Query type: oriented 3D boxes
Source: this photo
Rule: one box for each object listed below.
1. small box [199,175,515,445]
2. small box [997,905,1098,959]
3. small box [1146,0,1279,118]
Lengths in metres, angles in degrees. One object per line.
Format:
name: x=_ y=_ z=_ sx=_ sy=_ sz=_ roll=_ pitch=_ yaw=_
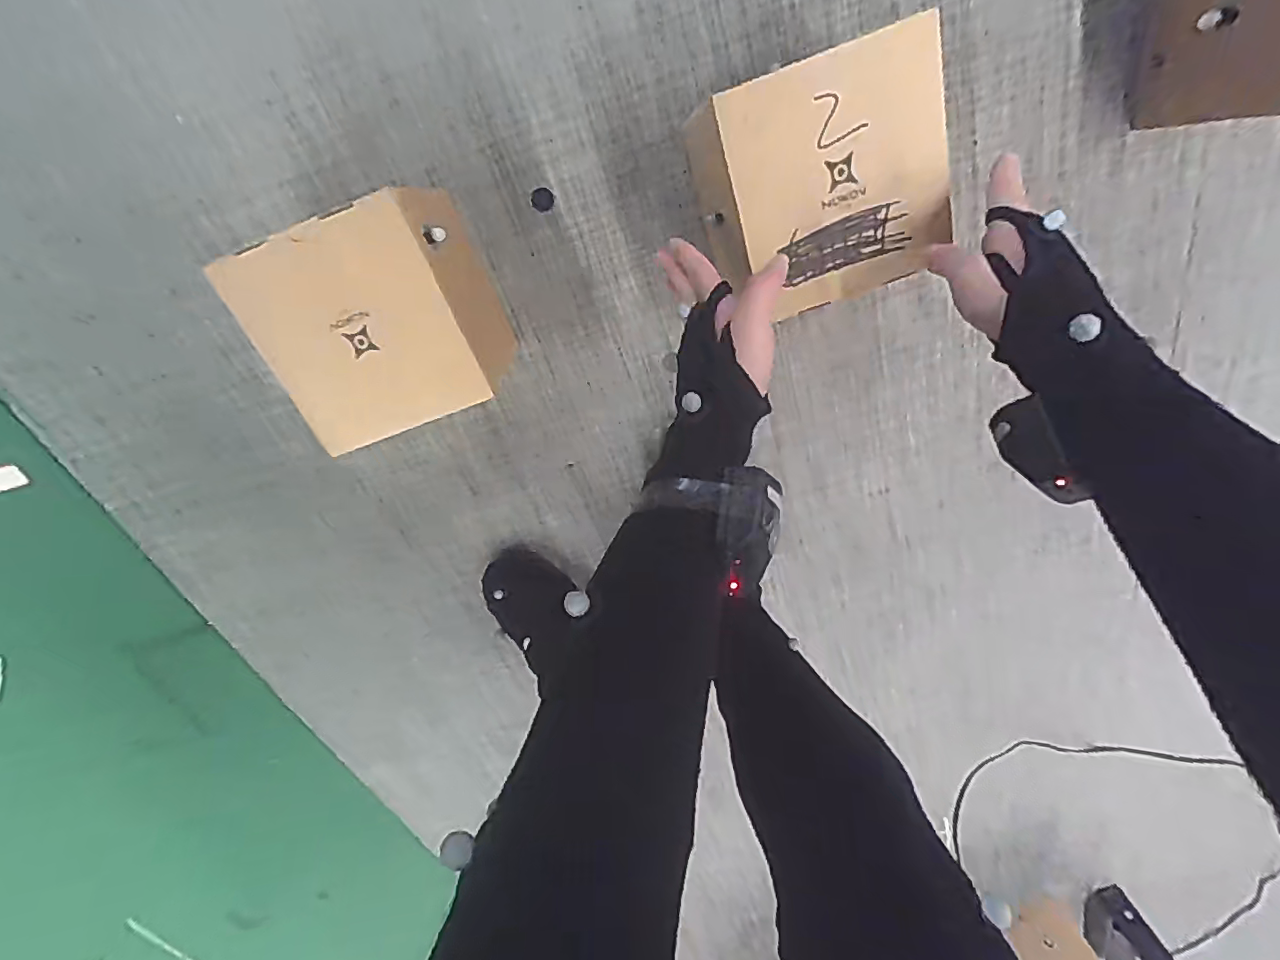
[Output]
small box: x=-0.233 y=-0.163 z=0.507 sx=0.168 sy=0.176 sz=0.179 roll=-19 pitch=116 yaw=6
small box: x=0.999 y=1.168 z=1.304 sx=0.168 sy=0.176 sz=0.179 roll=-26 pitch=117 yaw=9
small box: x=0.575 y=-0.422 z=0.441 sx=0.179 sy=0.176 sz=0.168 roll=-18 pitch=118 yaw=5
